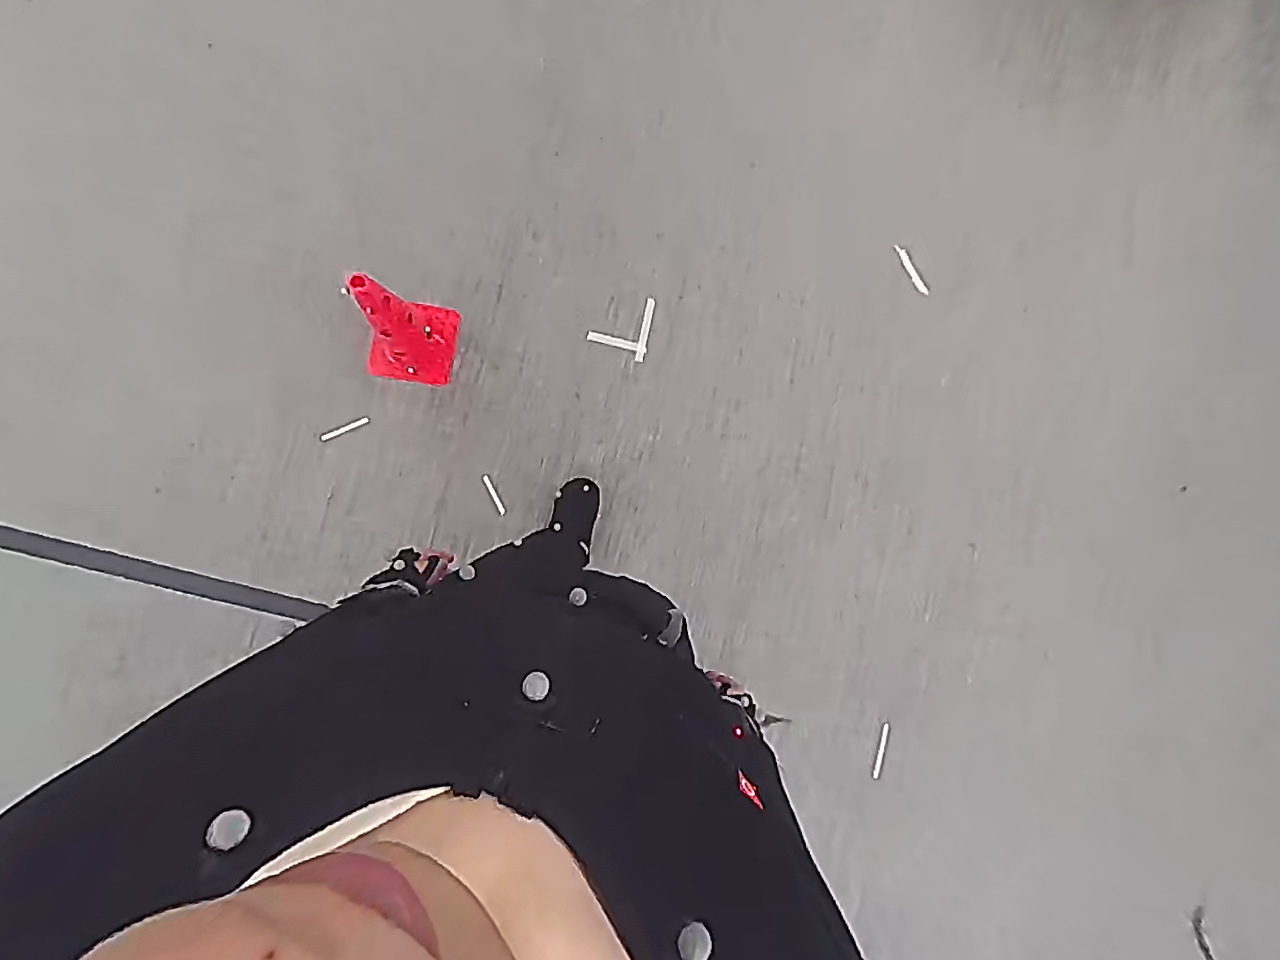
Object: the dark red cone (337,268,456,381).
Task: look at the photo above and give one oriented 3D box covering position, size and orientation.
[{"bbox_3d":[-0.539,-0.353,1.146,0.202,0.394,0.201,8,87,-6],"label":"dark red cone"}]
